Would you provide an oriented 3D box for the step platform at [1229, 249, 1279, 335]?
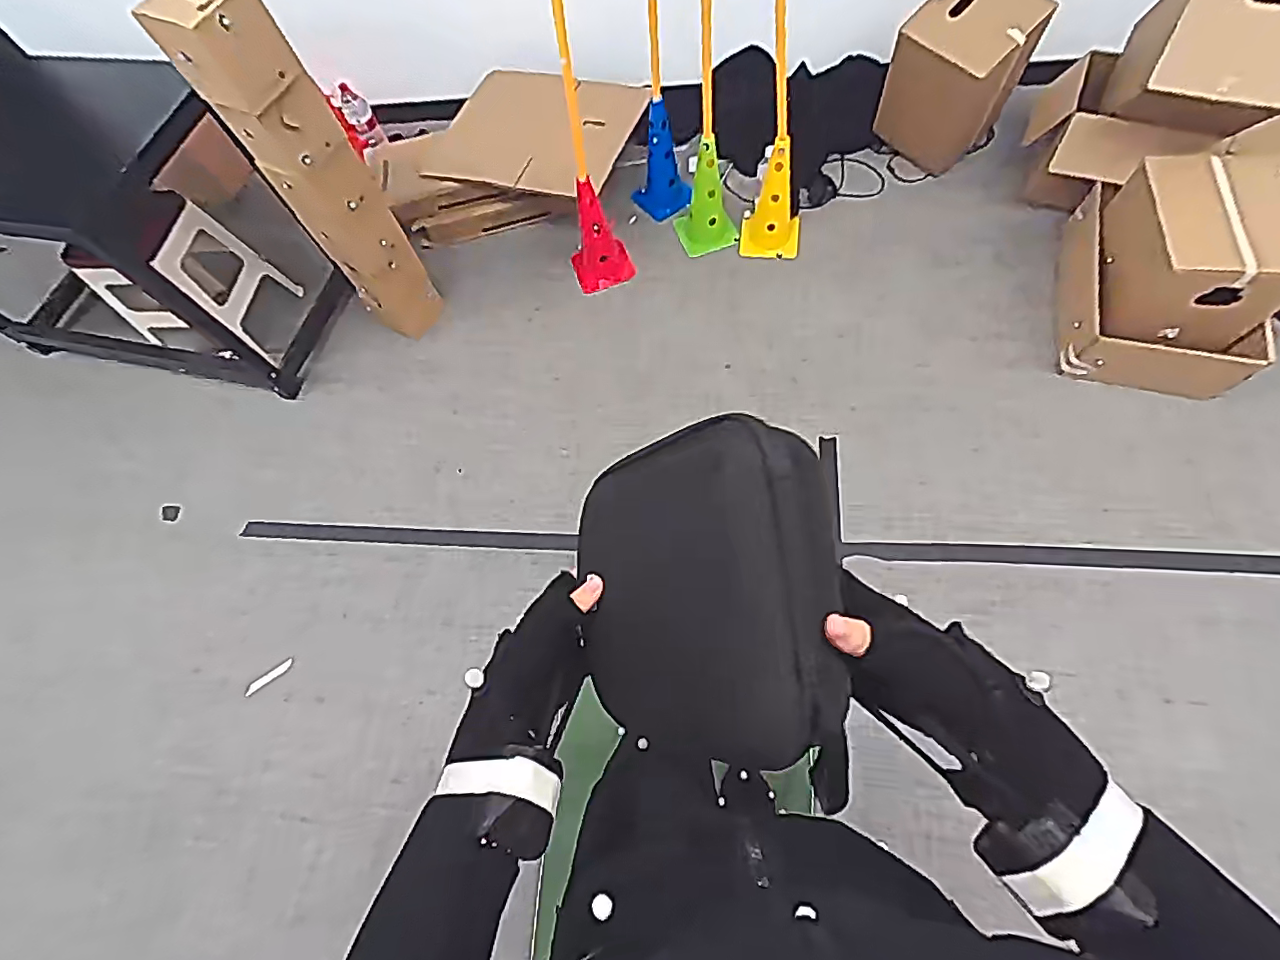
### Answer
[{"bbox_3d":[2.143,-0.645,1.555,0.684,0.204,0.286,-25,66,-4],"label":"step platform"}]
